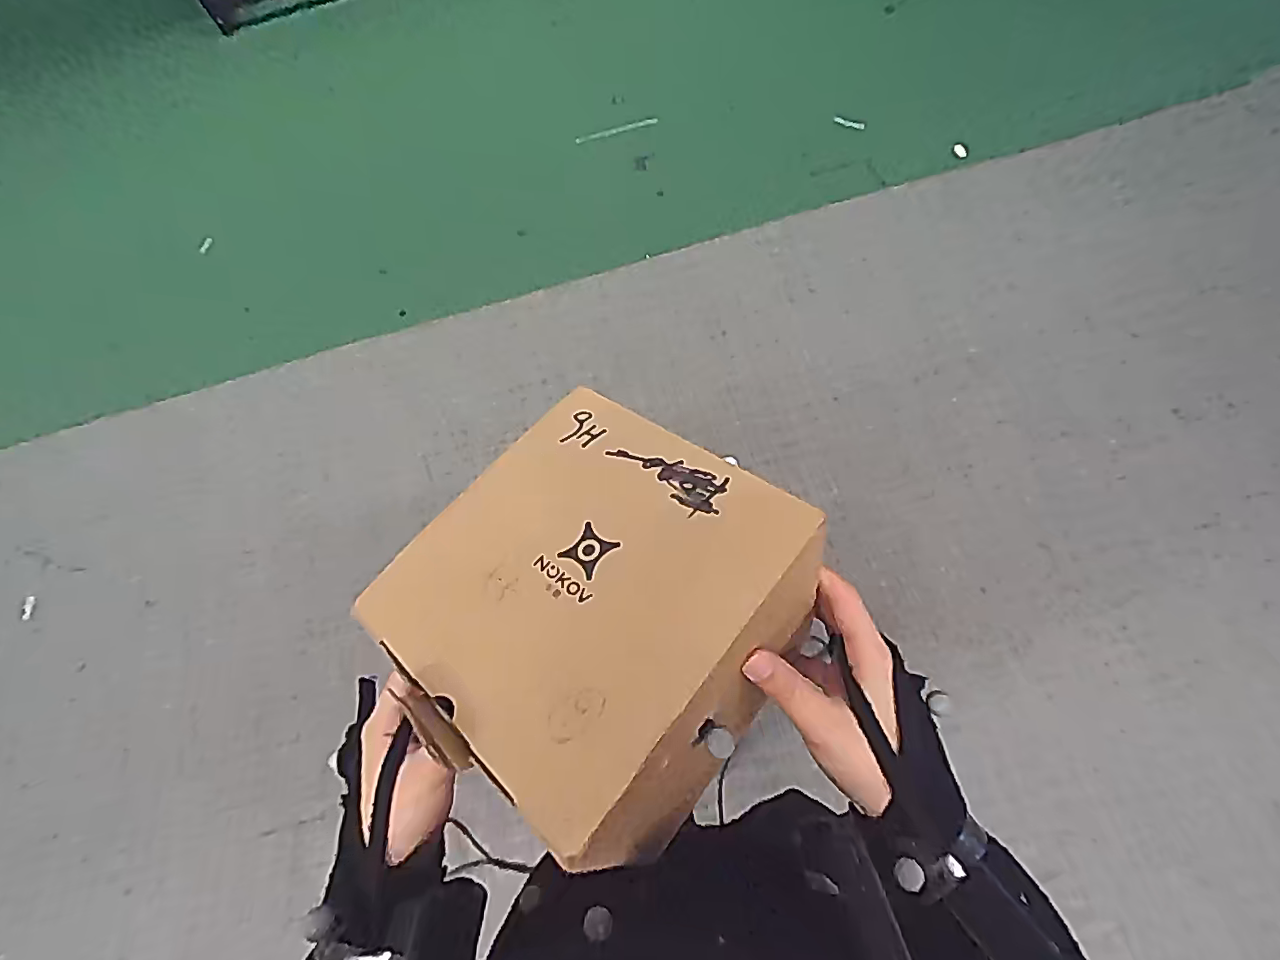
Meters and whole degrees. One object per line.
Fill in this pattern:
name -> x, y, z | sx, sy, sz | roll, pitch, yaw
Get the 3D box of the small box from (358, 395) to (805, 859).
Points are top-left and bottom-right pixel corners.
small box -> -0.016, 0.088, 0.329 | 0.168, 0.176, 0.179 | 31, 69, 30
